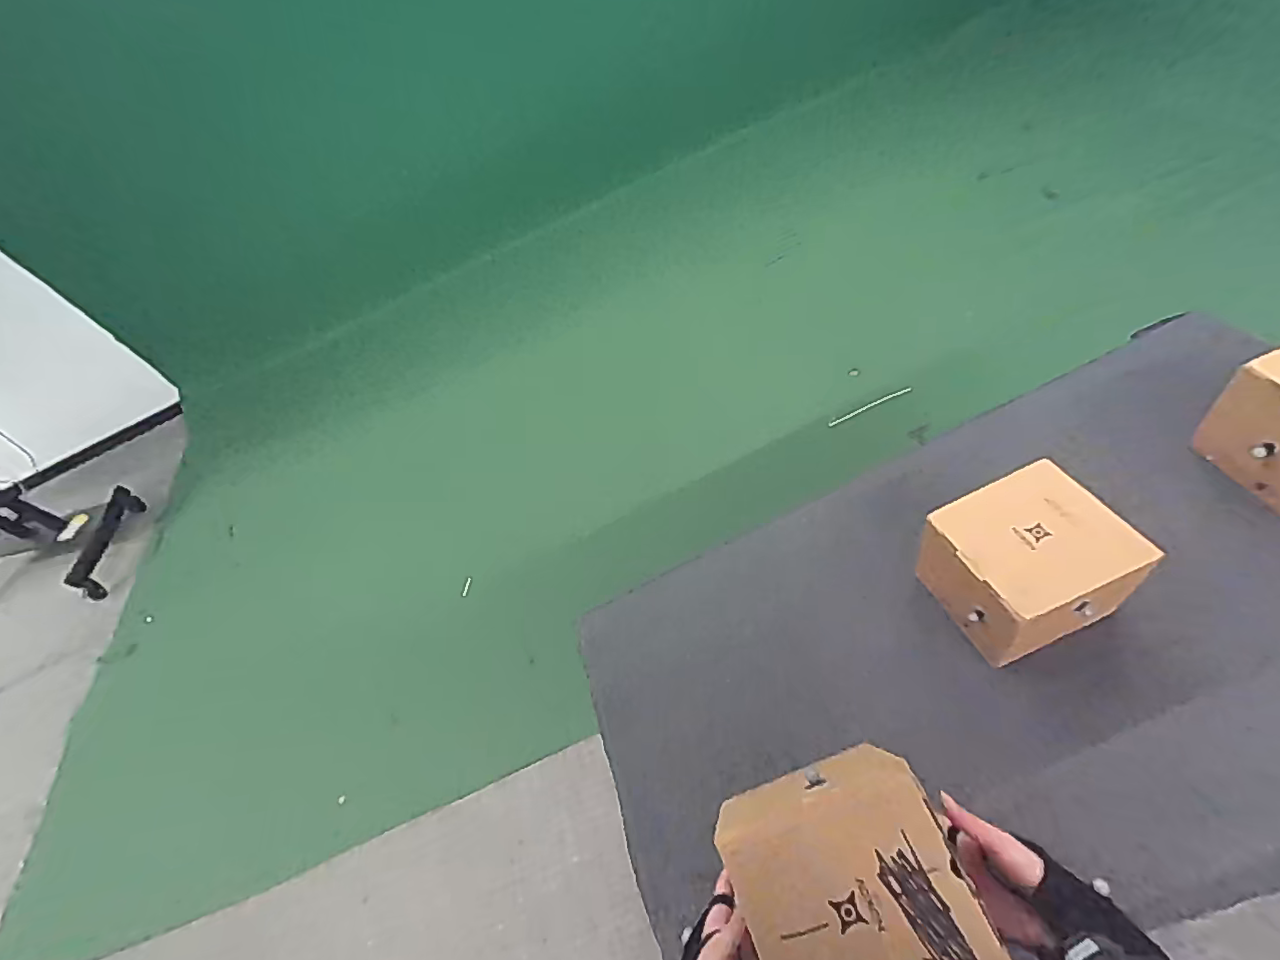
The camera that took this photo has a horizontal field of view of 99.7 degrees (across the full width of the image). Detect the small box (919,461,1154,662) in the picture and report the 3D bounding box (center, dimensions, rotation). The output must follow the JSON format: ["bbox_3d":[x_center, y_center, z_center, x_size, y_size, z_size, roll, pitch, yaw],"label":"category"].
[{"bbox_3d":[0.496,0.114,0.715,0.179,0.176,0.168,-26,50,0],"label":"small box"}]

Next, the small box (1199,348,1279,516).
[{"bbox_3d":[0.891,-0.074,0.696,0.179,0.176,0.168,-22,50,6],"label":"small box"}]
